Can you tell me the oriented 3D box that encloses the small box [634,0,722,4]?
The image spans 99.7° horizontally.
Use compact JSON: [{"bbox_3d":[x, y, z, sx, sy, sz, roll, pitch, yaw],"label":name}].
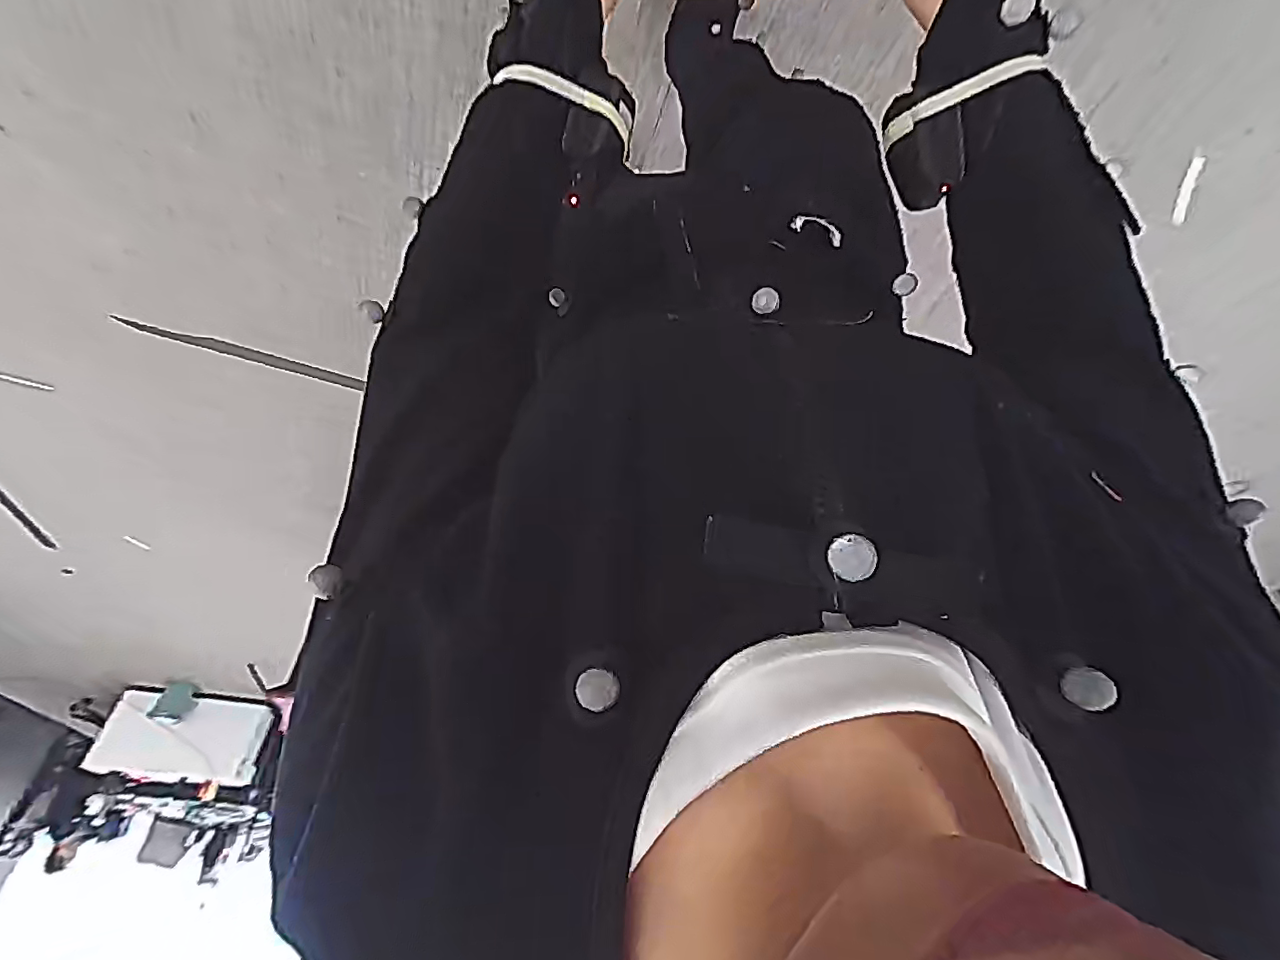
[{"bbox_3d":[0.073,-0.439,0.360,0.168,0.176,0.179,6,136,8],"label":"small box"}]
